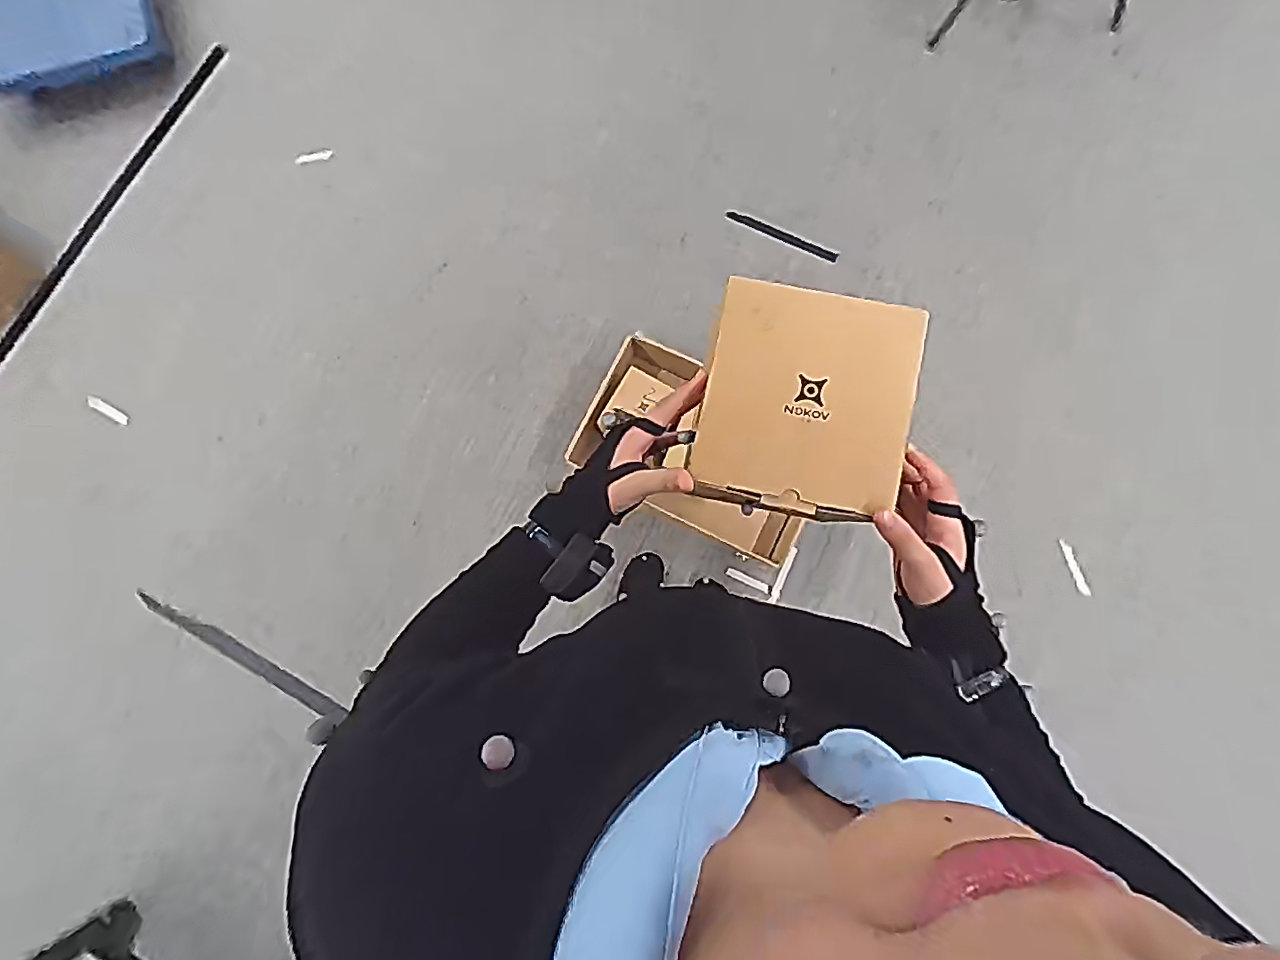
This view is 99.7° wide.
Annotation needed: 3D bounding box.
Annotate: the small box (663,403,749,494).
[{"bbox_3d":[0.170,-0.074,1.427,0.168,0.176,0.179,23,83,5],"label":"small box"}]
